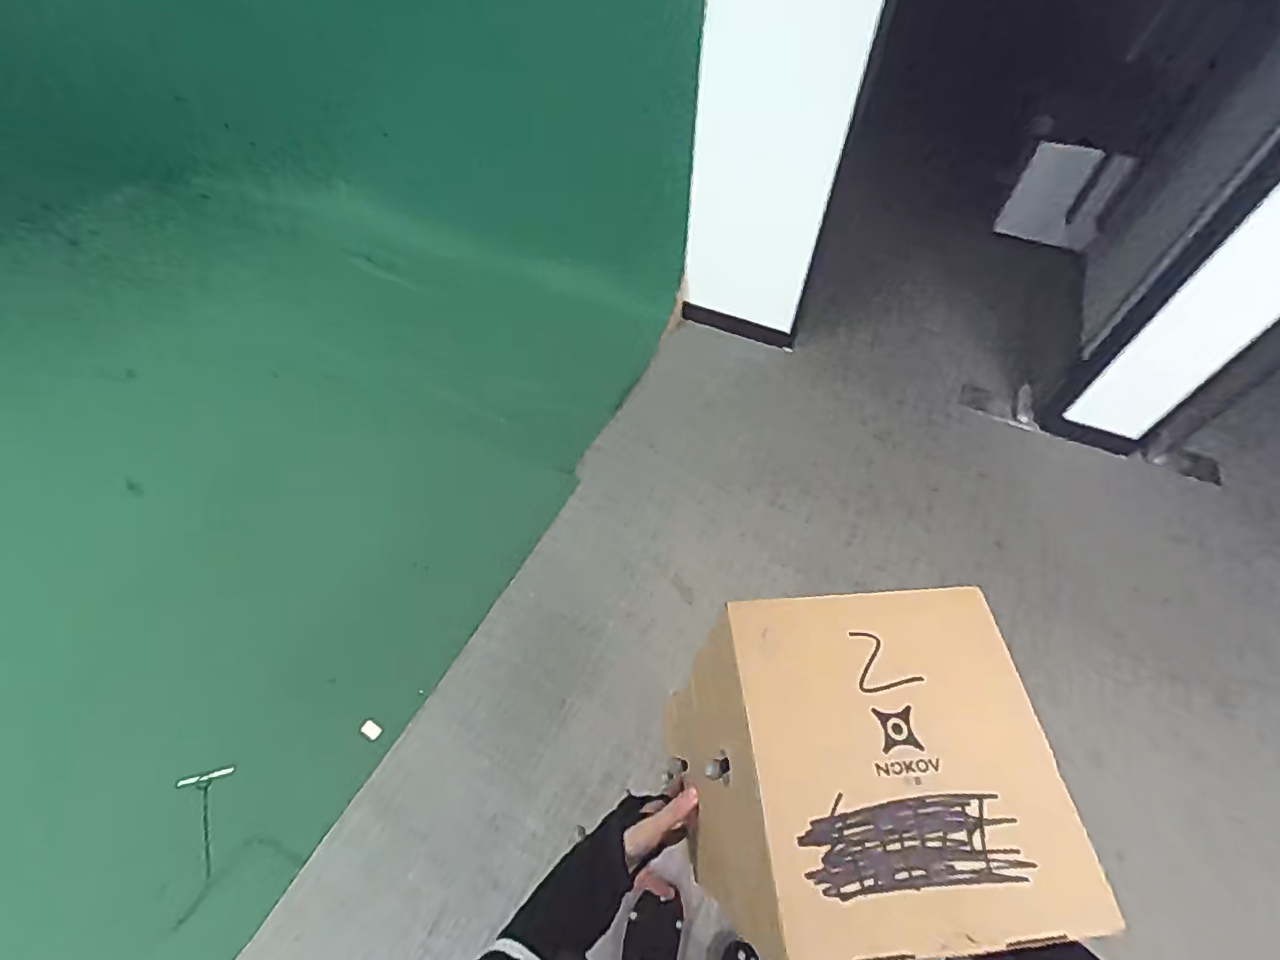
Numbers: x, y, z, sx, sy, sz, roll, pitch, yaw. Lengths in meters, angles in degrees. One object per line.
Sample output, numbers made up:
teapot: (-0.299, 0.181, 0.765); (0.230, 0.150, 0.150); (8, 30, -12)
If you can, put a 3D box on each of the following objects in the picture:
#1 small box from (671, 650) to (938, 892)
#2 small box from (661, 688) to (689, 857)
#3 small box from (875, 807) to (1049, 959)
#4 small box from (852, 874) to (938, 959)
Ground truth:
small box: (0.131, 0.269, 0.510); (0.179, 0.176, 0.168); (-4, 58, -4)
small box: (0.126, 0.346, 0.655); (0.179, 0.176, 0.168); (-5, 58, -5)
small box: (0.492, 0.649, 0.845); (0.179, 0.176, 0.168); (23, 57, 15)
small box: (0.510, 0.741, 0.979); (0.179, 0.176, 0.168); (20, 56, 16)
